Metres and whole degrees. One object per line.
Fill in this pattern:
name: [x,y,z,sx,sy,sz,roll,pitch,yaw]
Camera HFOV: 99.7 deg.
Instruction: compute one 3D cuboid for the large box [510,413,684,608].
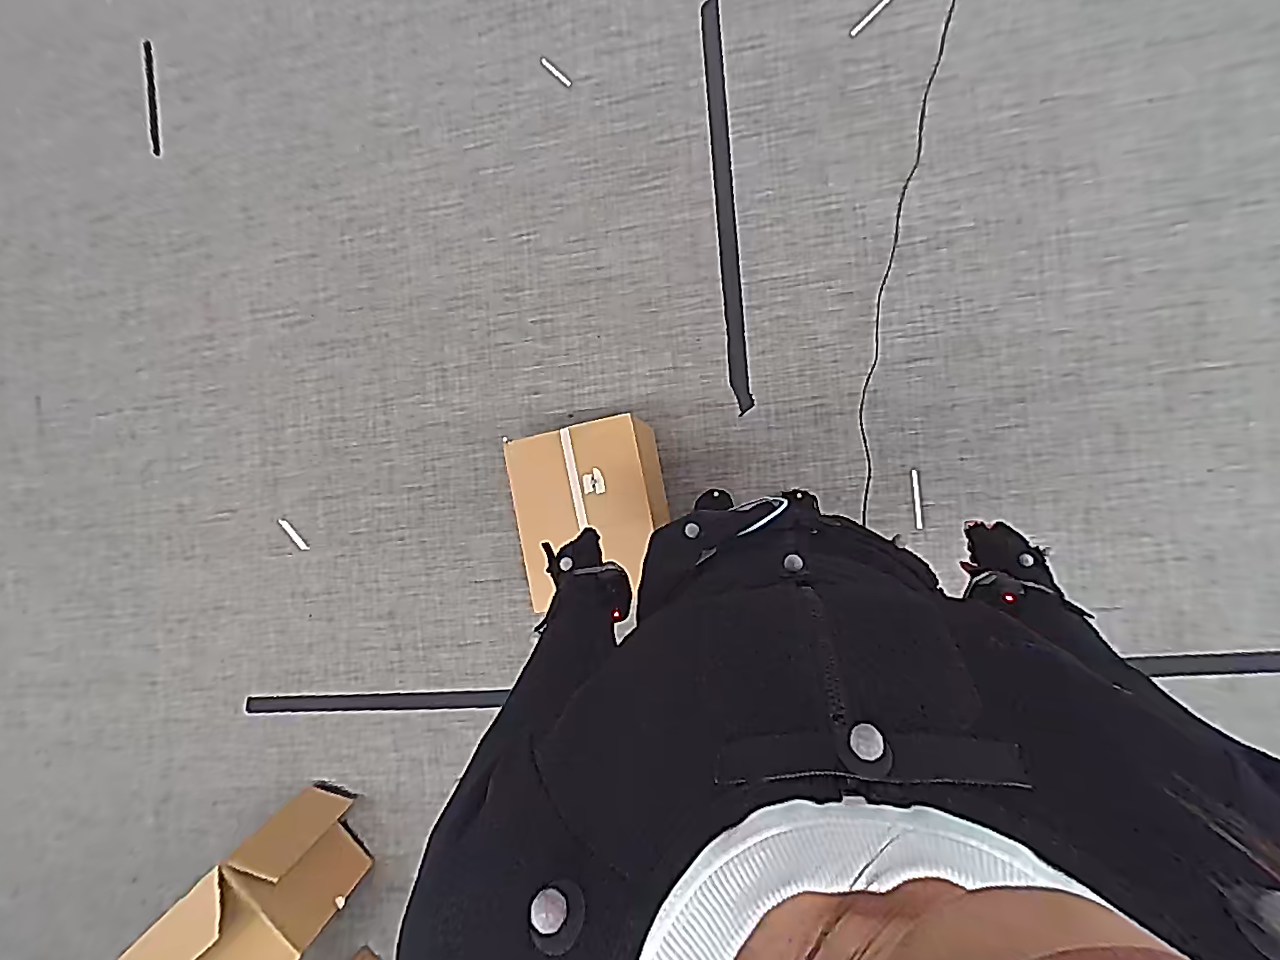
large box: [-0.091,0.078,1.378,0.320,0.320,0.408,-12,85,10]
